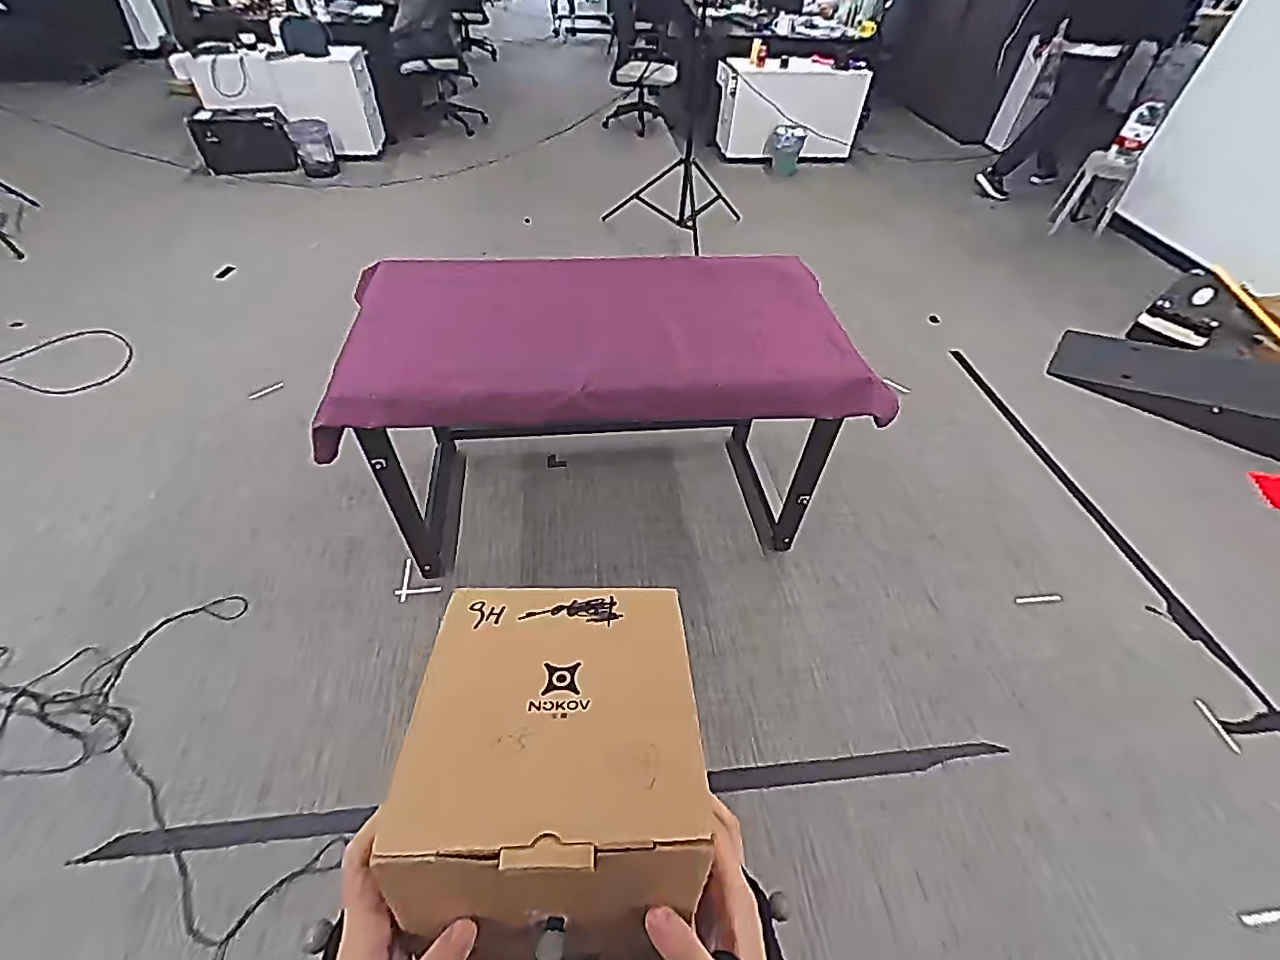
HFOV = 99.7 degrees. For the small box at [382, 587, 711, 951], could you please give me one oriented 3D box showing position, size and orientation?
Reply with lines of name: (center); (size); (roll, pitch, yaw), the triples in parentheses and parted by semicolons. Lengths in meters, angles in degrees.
small box: (-0.051, 0.196, 0.376); (0.168, 0.176, 0.179); (1, 34, -4)
